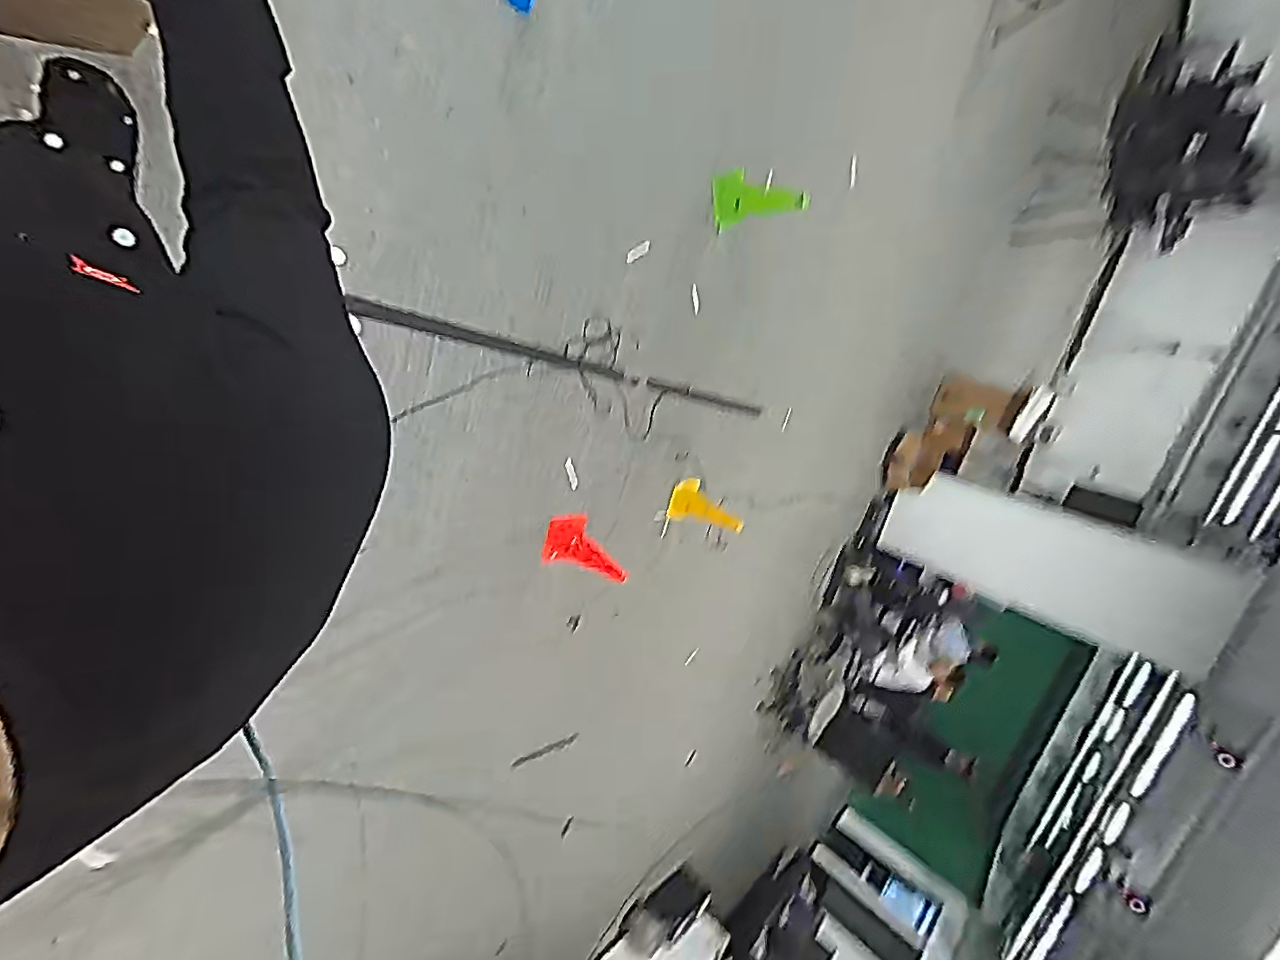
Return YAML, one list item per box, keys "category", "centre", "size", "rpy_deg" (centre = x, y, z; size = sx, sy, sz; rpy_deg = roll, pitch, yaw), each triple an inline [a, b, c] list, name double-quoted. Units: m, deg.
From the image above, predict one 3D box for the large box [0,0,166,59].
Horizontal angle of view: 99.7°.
- category: "large box"
  centre: [-0.546, -0.462, 0.265]
  size: [0.408, 0.320, 0.320]
  rpy_deg: [-20, 124, -42]

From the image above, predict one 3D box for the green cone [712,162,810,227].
- category: "green cone"
  centre: [0.482, -1.096, 2.070]
  size: [0.200, 0.368, 0.202]
  rpy_deg: [-40, 135, -28]

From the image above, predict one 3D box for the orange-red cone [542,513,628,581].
- category: "orange-red cone"
  centre: [-0.181, 0.292, 2.092]
  size: [0.199, 0.360, 0.198]
  rpy_deg: [-3, 114, -50]
